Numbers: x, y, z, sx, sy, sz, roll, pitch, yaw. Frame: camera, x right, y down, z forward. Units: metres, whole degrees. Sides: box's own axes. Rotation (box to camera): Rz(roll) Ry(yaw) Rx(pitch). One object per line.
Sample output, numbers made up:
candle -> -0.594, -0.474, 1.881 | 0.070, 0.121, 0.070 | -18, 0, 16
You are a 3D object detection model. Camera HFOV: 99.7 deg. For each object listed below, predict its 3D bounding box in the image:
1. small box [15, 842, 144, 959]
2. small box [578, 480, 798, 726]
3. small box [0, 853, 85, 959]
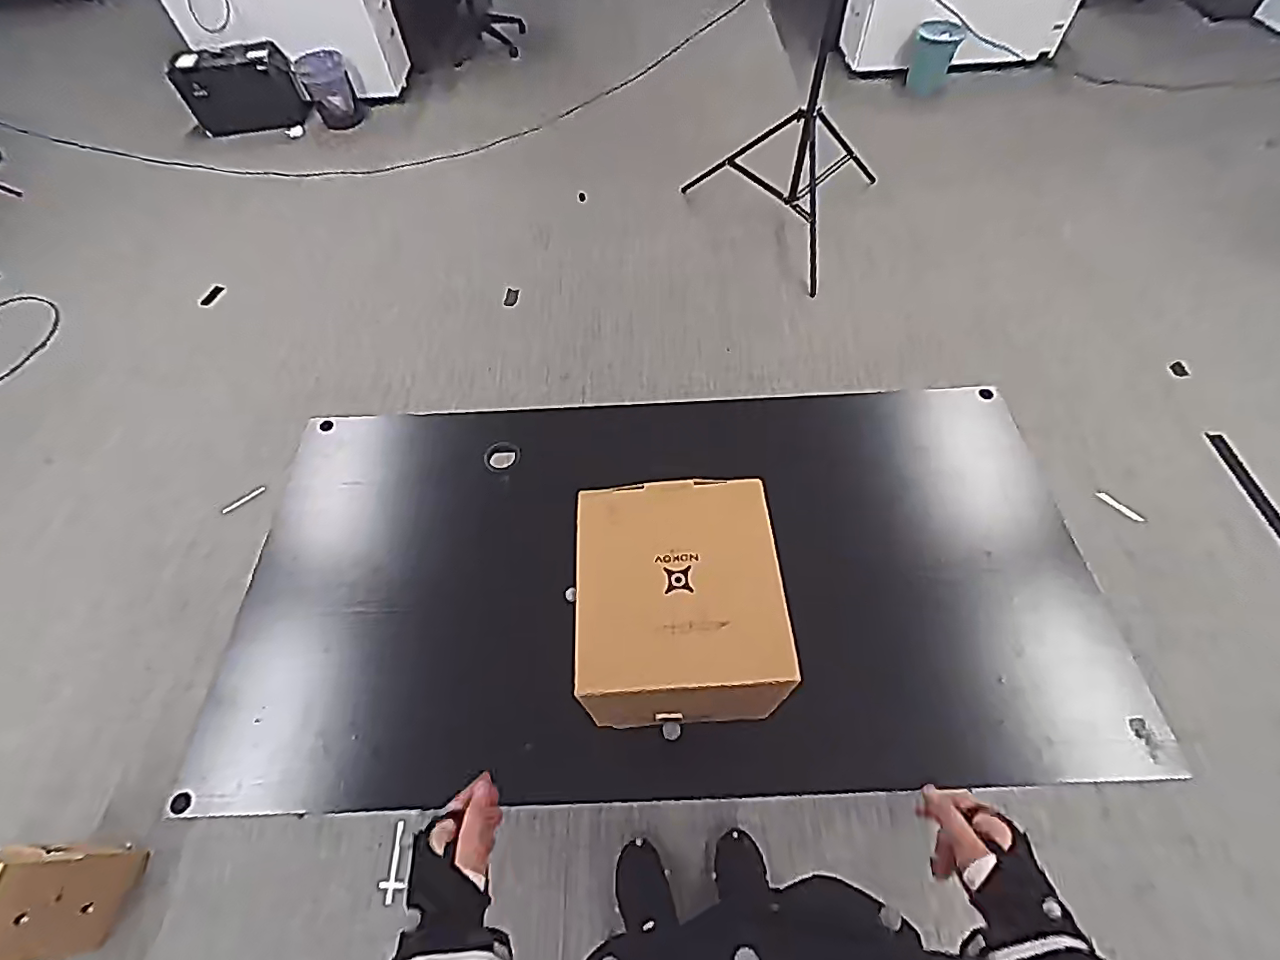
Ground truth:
small box -> -1.216, 0.878, 1.138 | 0.168, 0.176, 0.179 | 5, 59, 6
small box -> 0.035, 0.121, 0.508 | 0.168, 0.176, 0.179 | -5, 58, 1
small box -> -1.212, 0.795, 0.996 | 0.179, 0.176, 0.168 | 2, 56, 4
